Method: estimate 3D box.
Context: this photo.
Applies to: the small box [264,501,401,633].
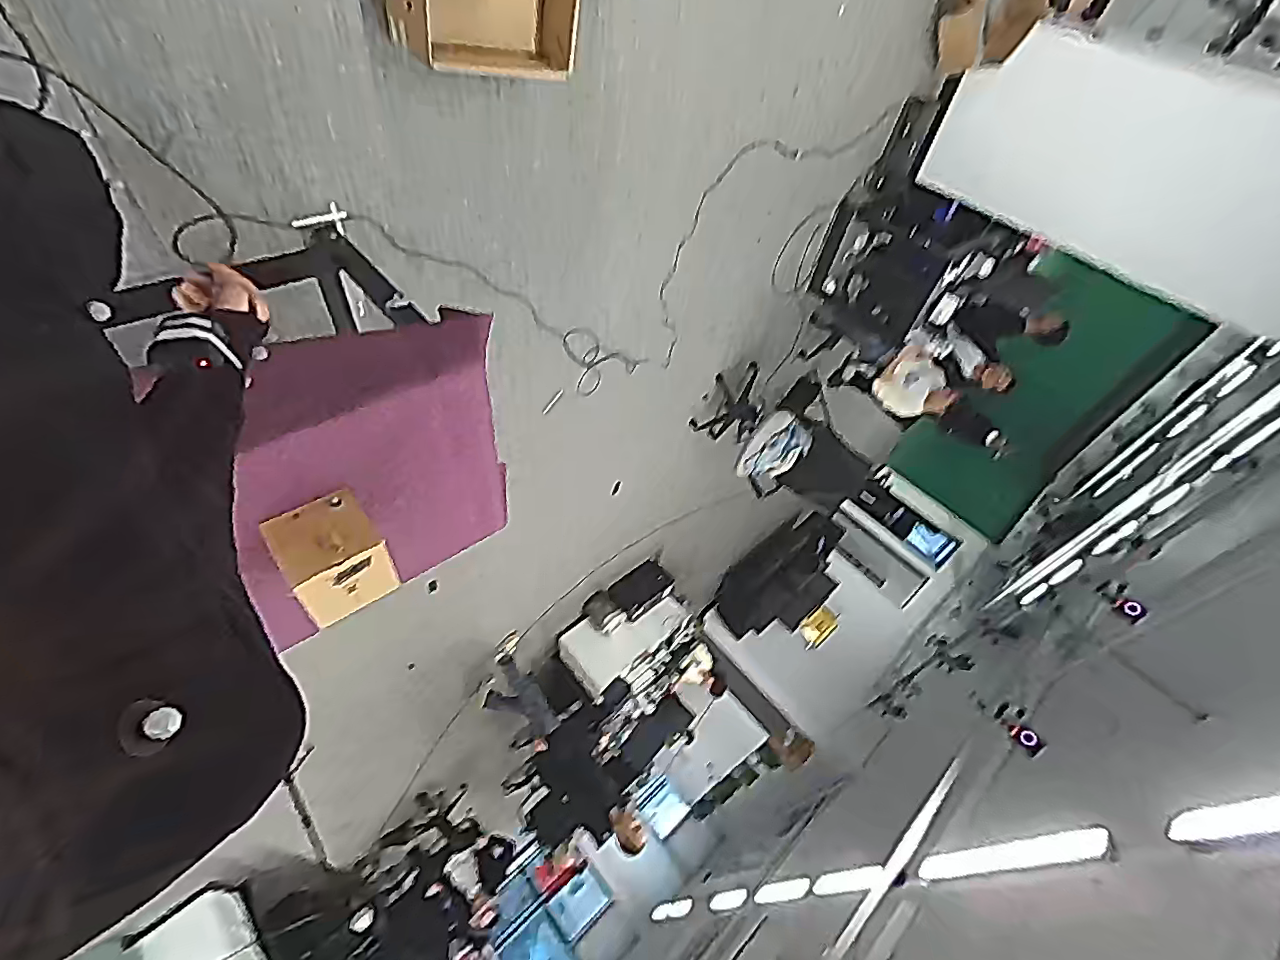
[{"bbox_3d":[-0.611,0.165,1.082,0.168,0.176,0.179,-30,152,-31],"label":"small box"}]
